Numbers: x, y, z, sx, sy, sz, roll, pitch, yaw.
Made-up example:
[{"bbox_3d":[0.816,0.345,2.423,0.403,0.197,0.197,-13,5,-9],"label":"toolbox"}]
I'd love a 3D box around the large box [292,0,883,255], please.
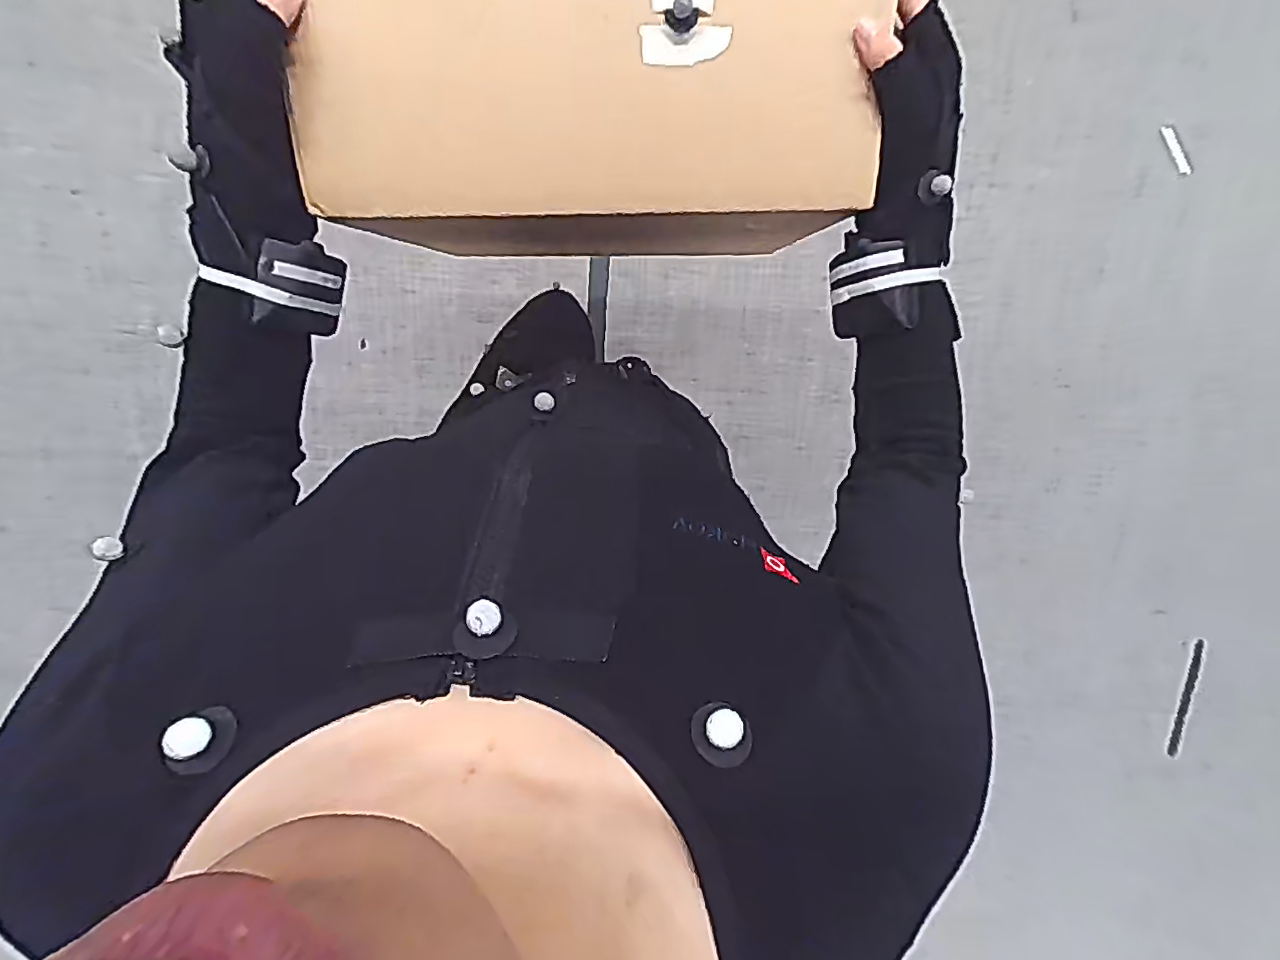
[{"bbox_3d":[-0.037,-0.395,0.496,0.408,0.320,0.320,-1,107,0],"label":"large box"}]
